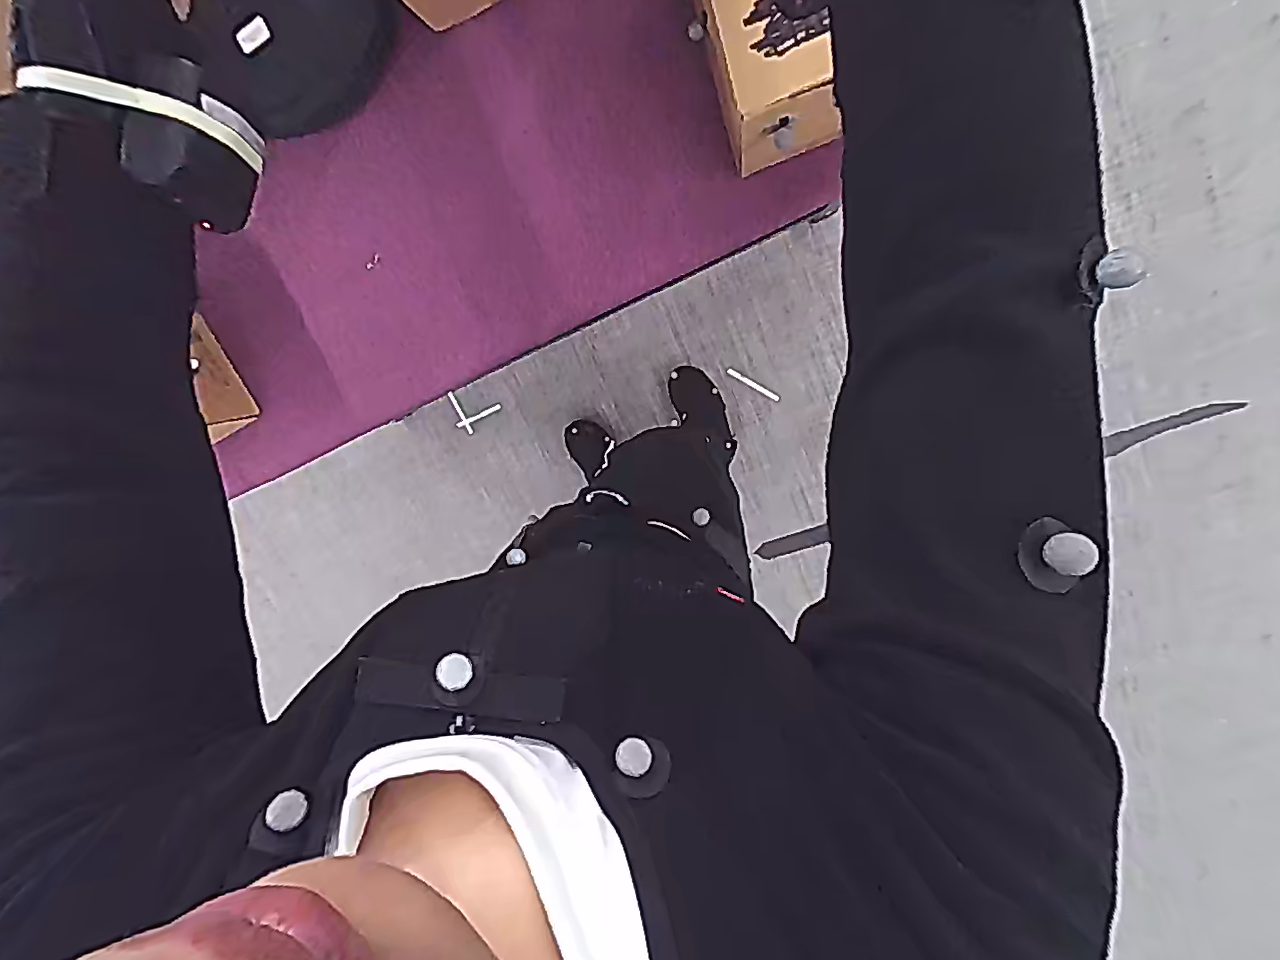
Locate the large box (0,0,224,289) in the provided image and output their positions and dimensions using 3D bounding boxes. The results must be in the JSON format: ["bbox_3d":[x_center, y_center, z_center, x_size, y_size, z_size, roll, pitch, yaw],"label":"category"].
[{"bbox_3d":[-0.682,-0.411,0.436,0.320,0.320,0.408,-23,105,16],"label":"large box"}]
